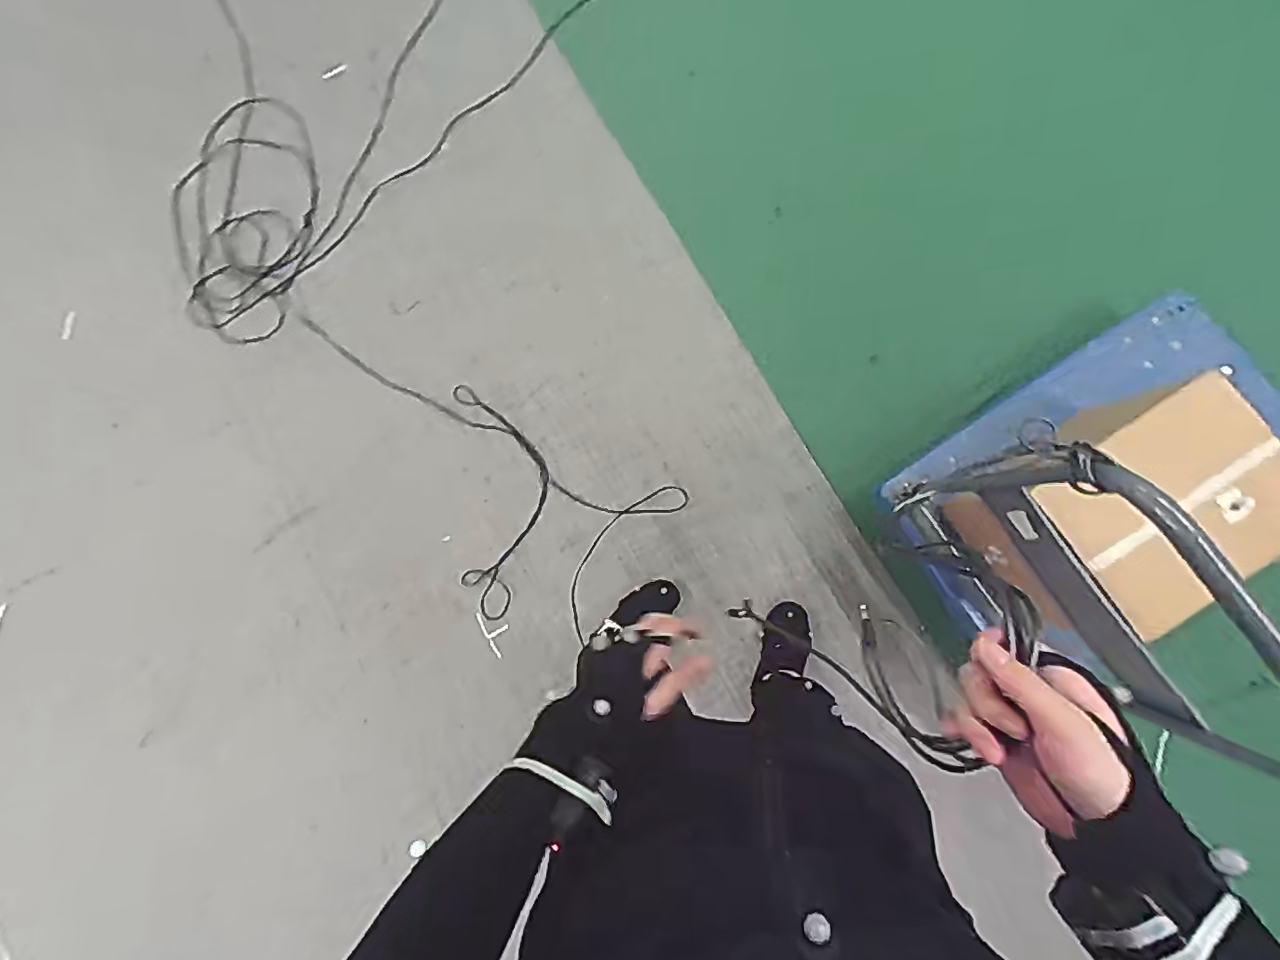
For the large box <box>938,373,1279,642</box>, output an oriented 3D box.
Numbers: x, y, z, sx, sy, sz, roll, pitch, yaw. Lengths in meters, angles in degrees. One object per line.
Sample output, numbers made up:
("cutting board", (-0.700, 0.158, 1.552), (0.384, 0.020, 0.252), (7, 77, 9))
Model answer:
("large box", (0.917, 0.062, 1.085), (0.408, 0.320, 0.320), (-33, 84, -2))
